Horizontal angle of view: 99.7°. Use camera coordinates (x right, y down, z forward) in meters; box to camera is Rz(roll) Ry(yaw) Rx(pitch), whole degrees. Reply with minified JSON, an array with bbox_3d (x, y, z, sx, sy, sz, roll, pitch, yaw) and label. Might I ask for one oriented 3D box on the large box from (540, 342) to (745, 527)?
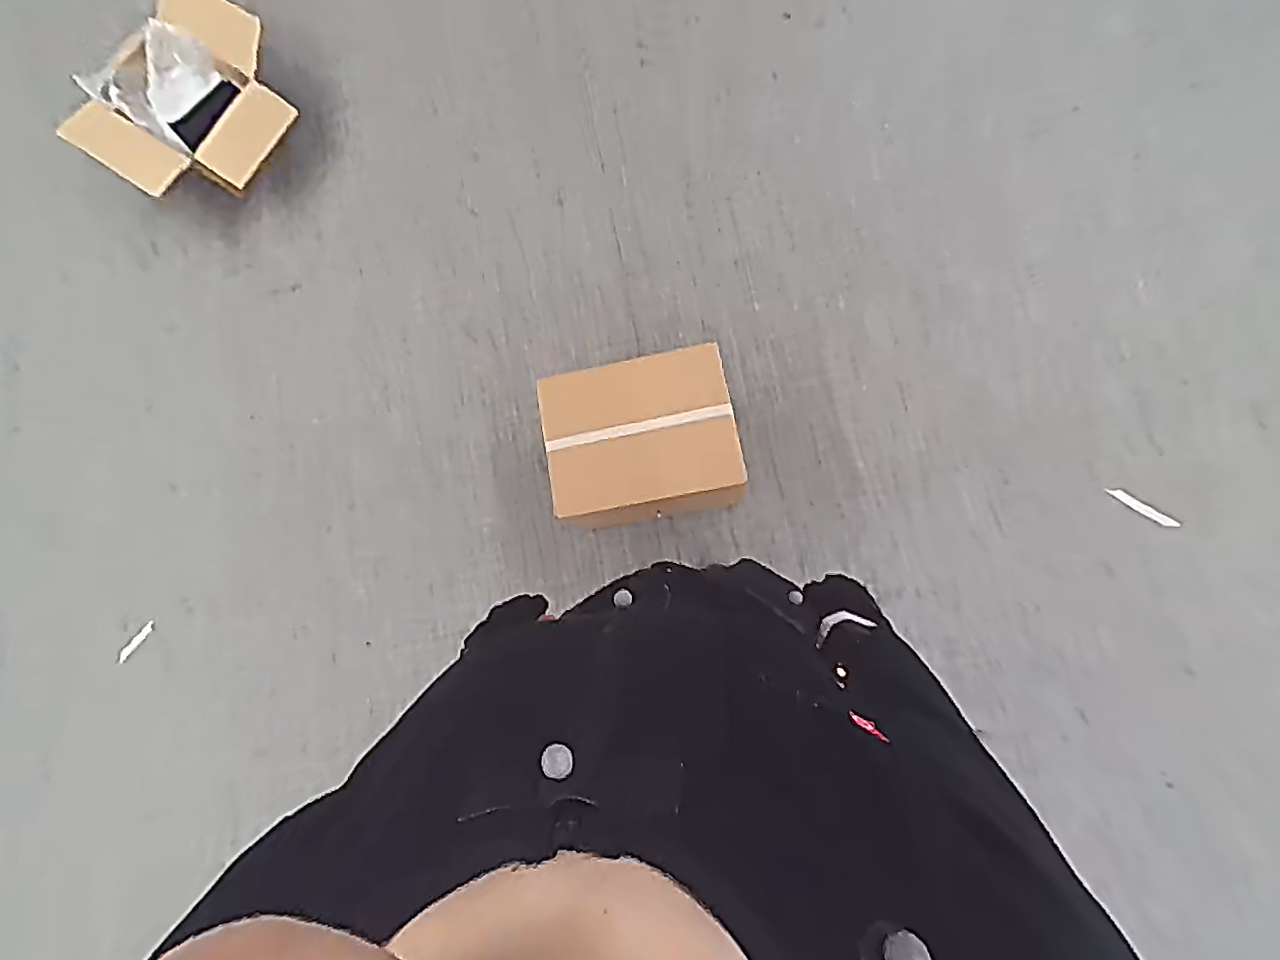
[{"bbox_3d":[0.013,-0.085,1.293,0.408,0.320,0.320,-11,80,5],"label":"large box"}]
